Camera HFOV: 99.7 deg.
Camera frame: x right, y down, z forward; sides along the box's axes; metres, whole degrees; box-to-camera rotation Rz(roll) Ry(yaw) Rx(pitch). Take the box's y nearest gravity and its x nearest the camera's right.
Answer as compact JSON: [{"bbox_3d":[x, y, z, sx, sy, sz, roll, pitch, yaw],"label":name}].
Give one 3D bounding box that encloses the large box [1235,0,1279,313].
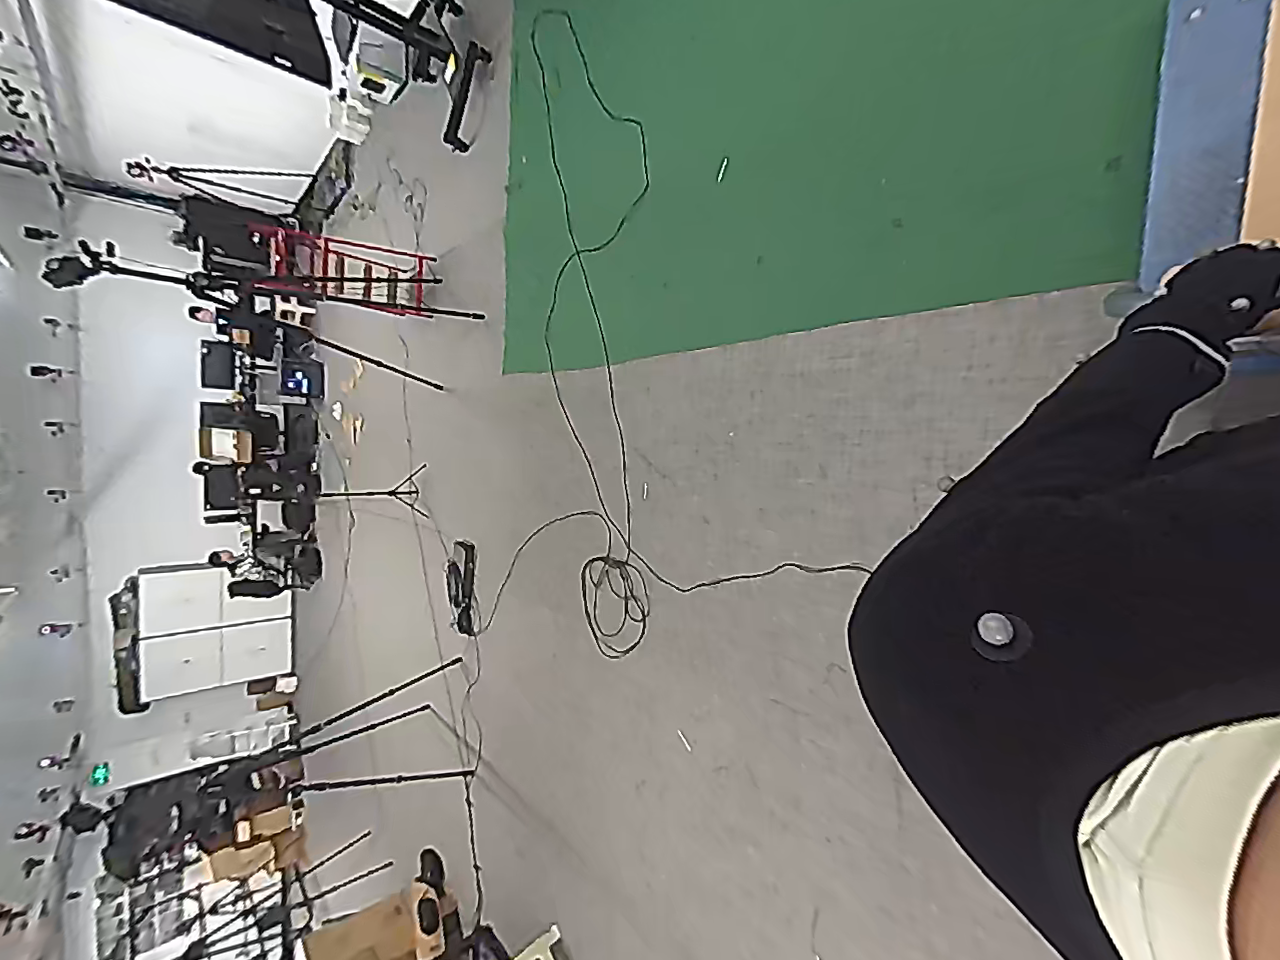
[{"bbox_3d":[1.124,-0.495,0.789,0.320,0.320,0.408,8,96,48],"label":"large box"}]
